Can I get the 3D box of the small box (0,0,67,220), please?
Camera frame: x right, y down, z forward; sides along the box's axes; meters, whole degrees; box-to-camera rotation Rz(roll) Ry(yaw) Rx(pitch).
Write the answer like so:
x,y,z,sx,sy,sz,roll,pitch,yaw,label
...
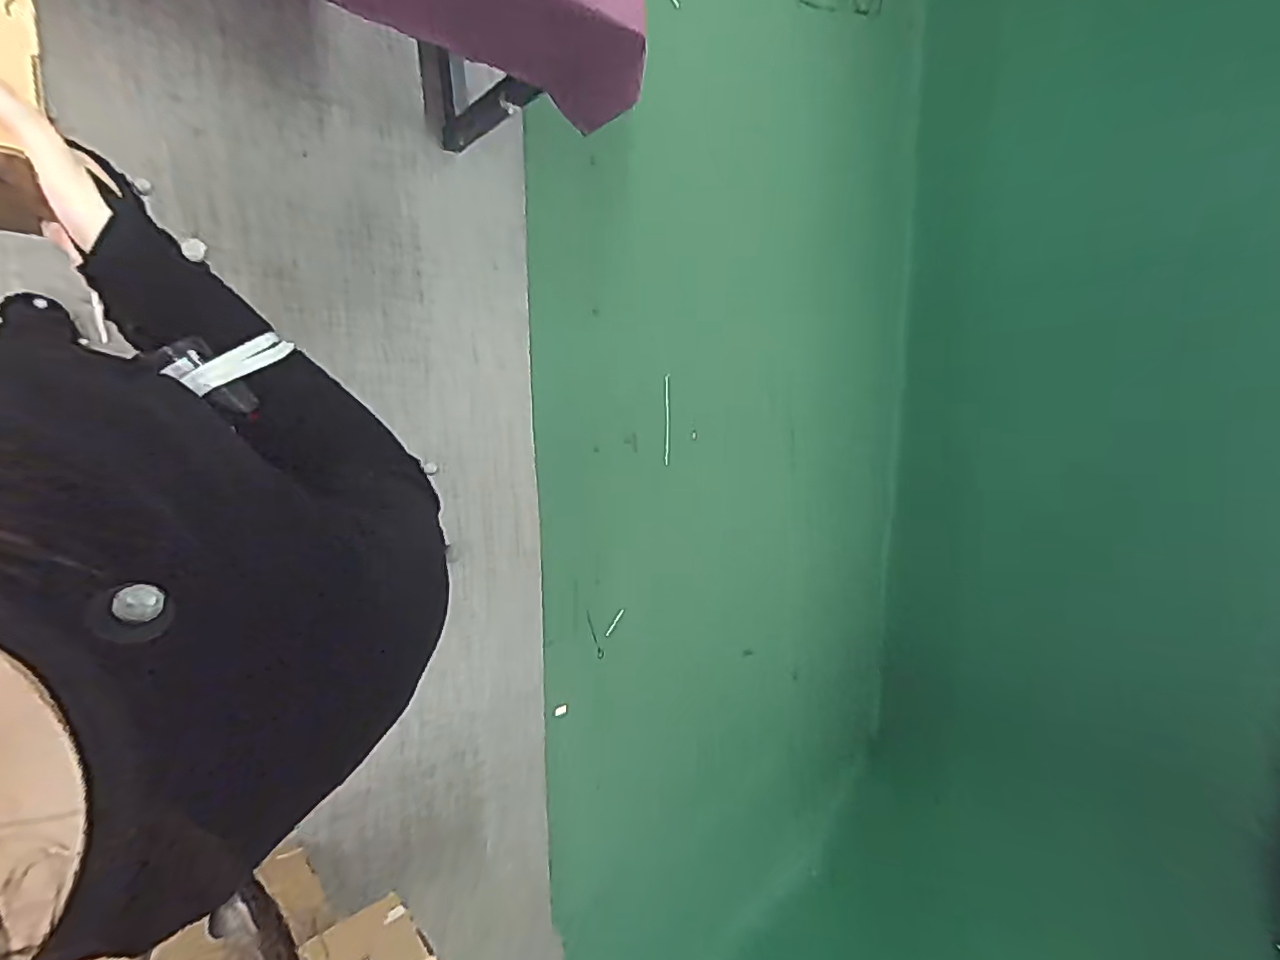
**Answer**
x,y,z,sx,sy,sz,roll,pitch,yaw,label
-0.479,-0.277,0.319,0.179,0.176,0.168,-8,97,-44,small box
